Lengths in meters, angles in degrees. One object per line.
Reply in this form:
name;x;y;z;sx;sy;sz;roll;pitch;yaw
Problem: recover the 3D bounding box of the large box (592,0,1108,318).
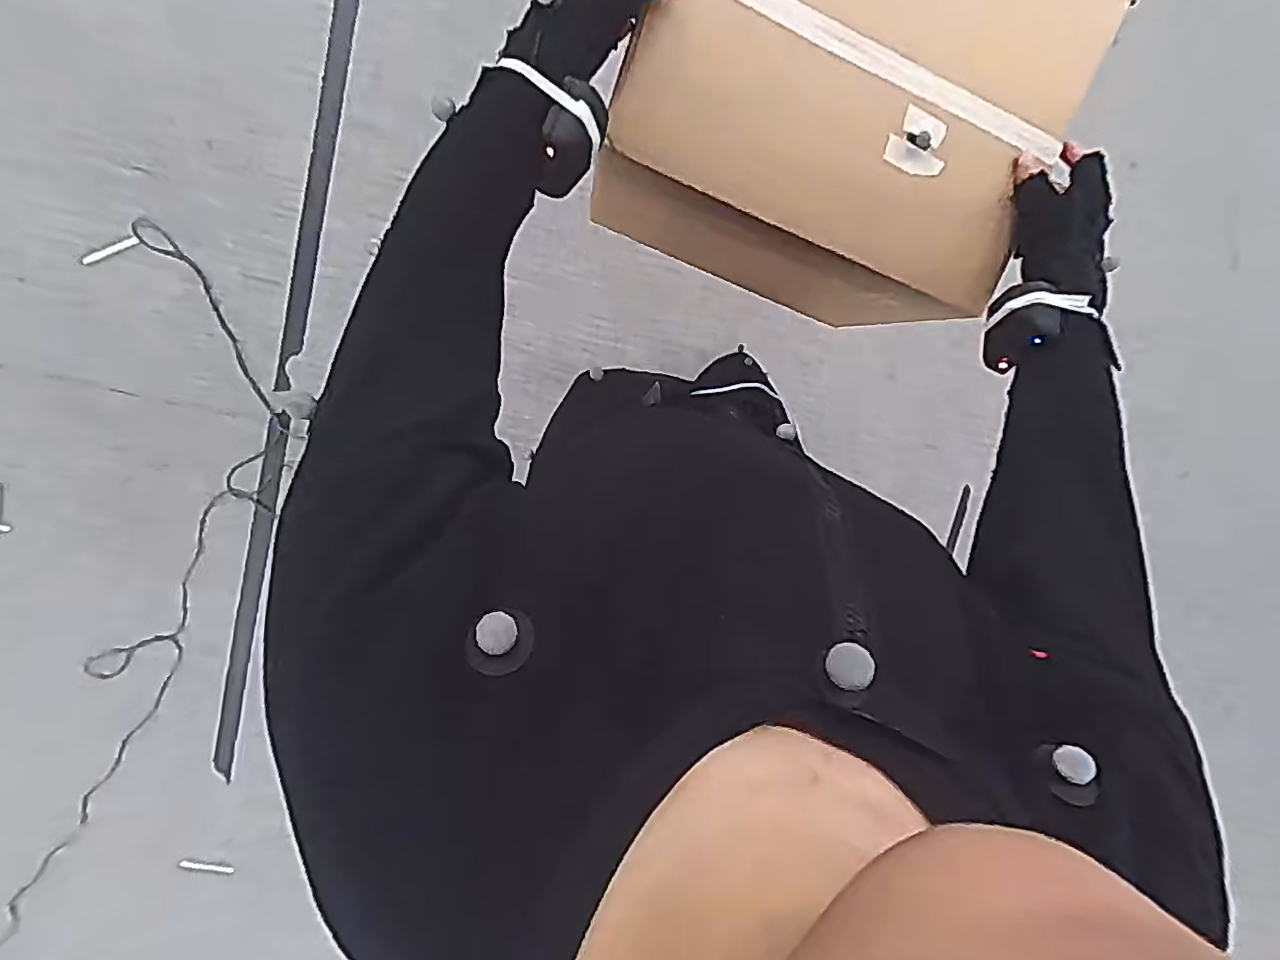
large box;0.183;-0.412;0.634;0.408;0.320;0.320;19;102;-12
